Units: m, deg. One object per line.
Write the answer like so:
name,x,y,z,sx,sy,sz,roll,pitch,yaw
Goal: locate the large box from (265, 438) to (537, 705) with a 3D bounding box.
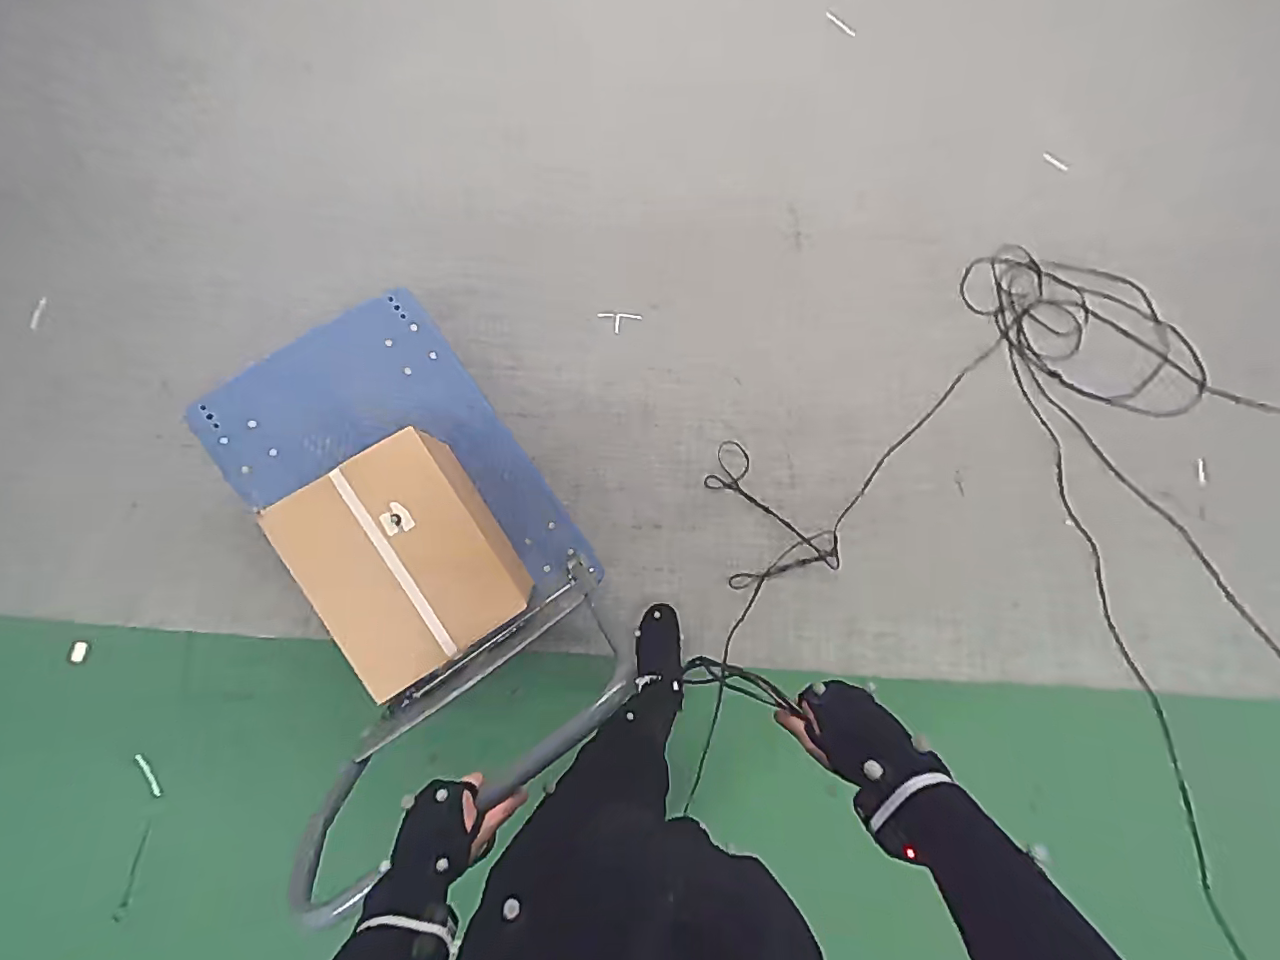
large box,-0.460,0.175,1.140,0.320,0.320,0.408,-32,91,-10
